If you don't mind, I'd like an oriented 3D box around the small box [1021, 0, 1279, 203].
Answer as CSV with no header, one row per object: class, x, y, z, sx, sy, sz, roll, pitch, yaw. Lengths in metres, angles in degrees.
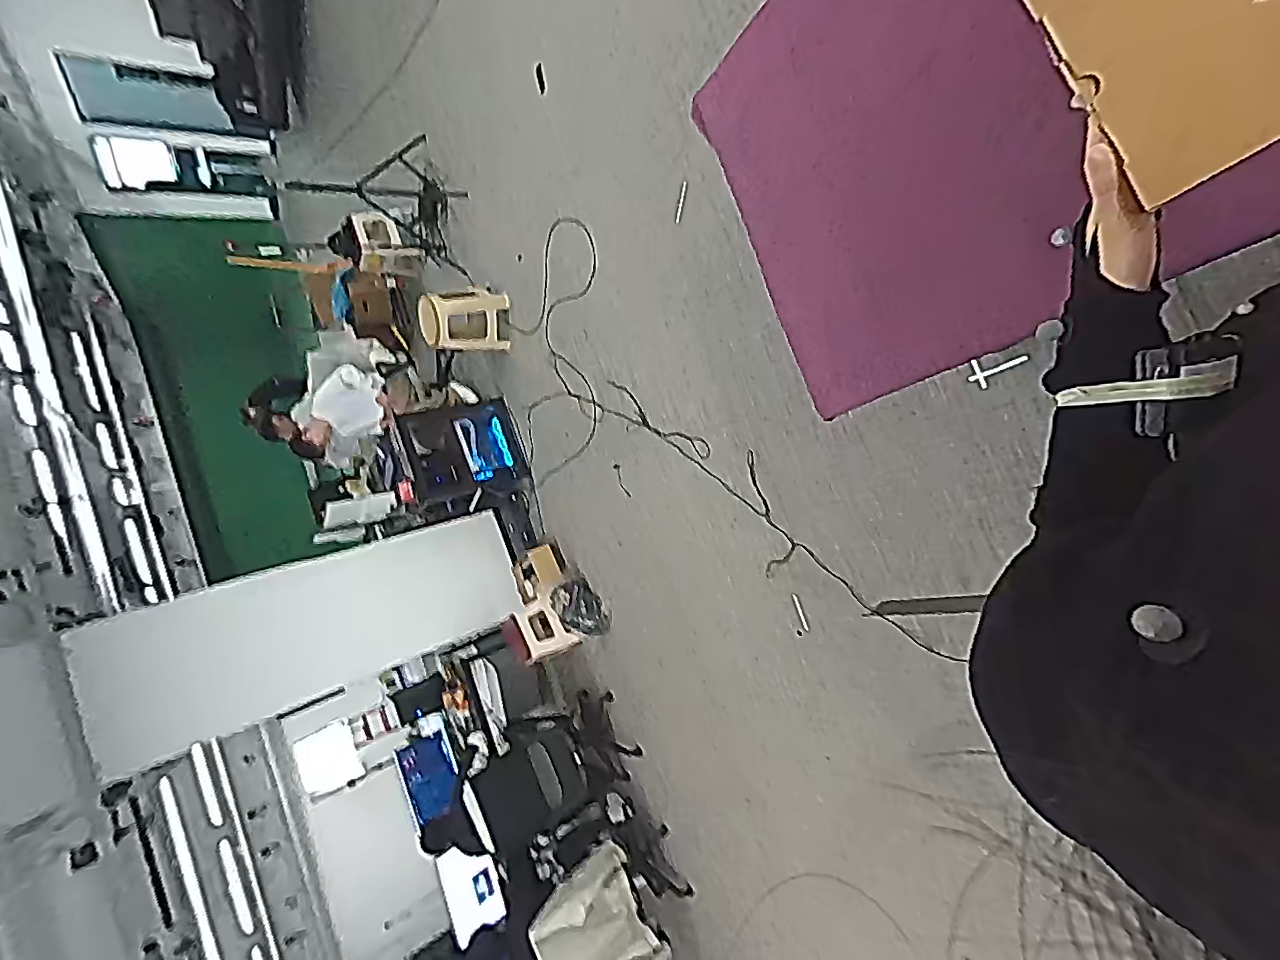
small box,0.357,-0.292,0.305,0.179,0.176,0.168,-29,90,52
